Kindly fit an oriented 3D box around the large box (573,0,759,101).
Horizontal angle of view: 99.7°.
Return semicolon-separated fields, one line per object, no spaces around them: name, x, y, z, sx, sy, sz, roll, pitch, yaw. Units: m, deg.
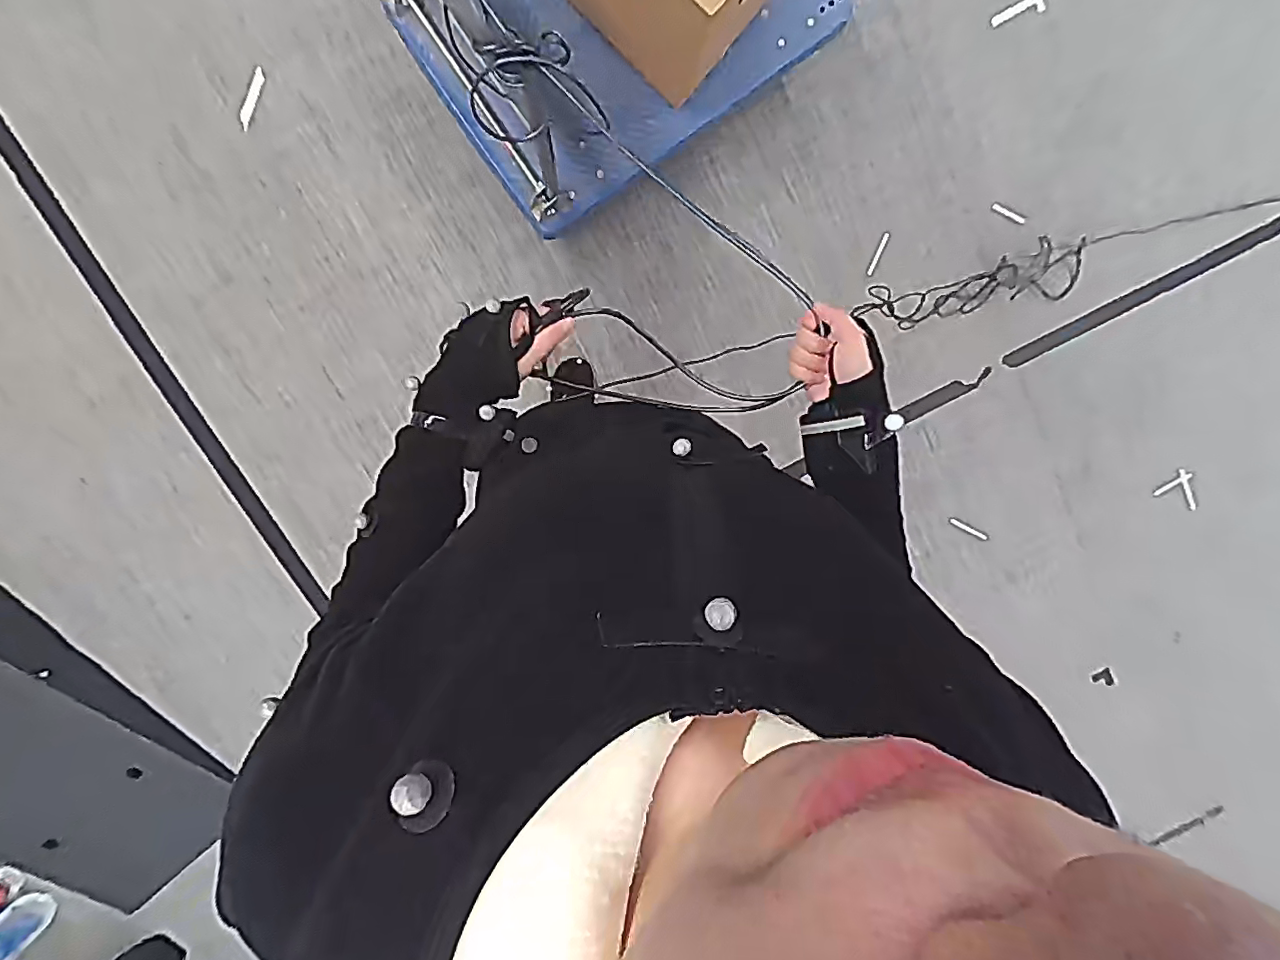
large box;0.044;-1.038;0.997;0.408;0.320;0.320;39;94;-12
